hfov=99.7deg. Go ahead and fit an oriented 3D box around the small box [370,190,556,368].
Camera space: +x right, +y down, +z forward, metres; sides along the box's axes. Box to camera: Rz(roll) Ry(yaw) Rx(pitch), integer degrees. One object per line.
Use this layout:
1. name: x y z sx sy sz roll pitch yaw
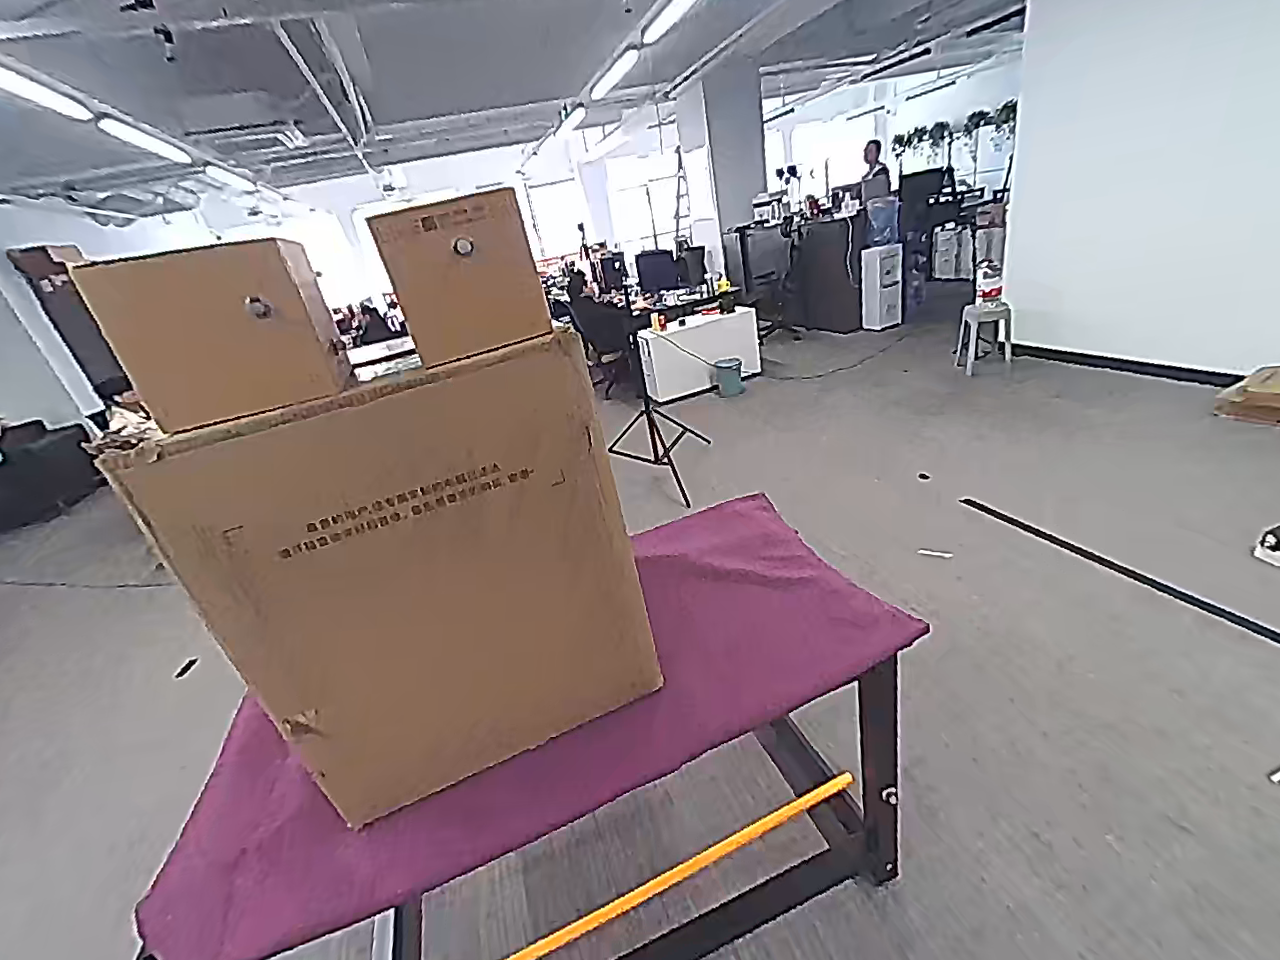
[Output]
1. small box: -0.225 -0.259 0.691 0.168 0.176 0.179 -21 26 -15
